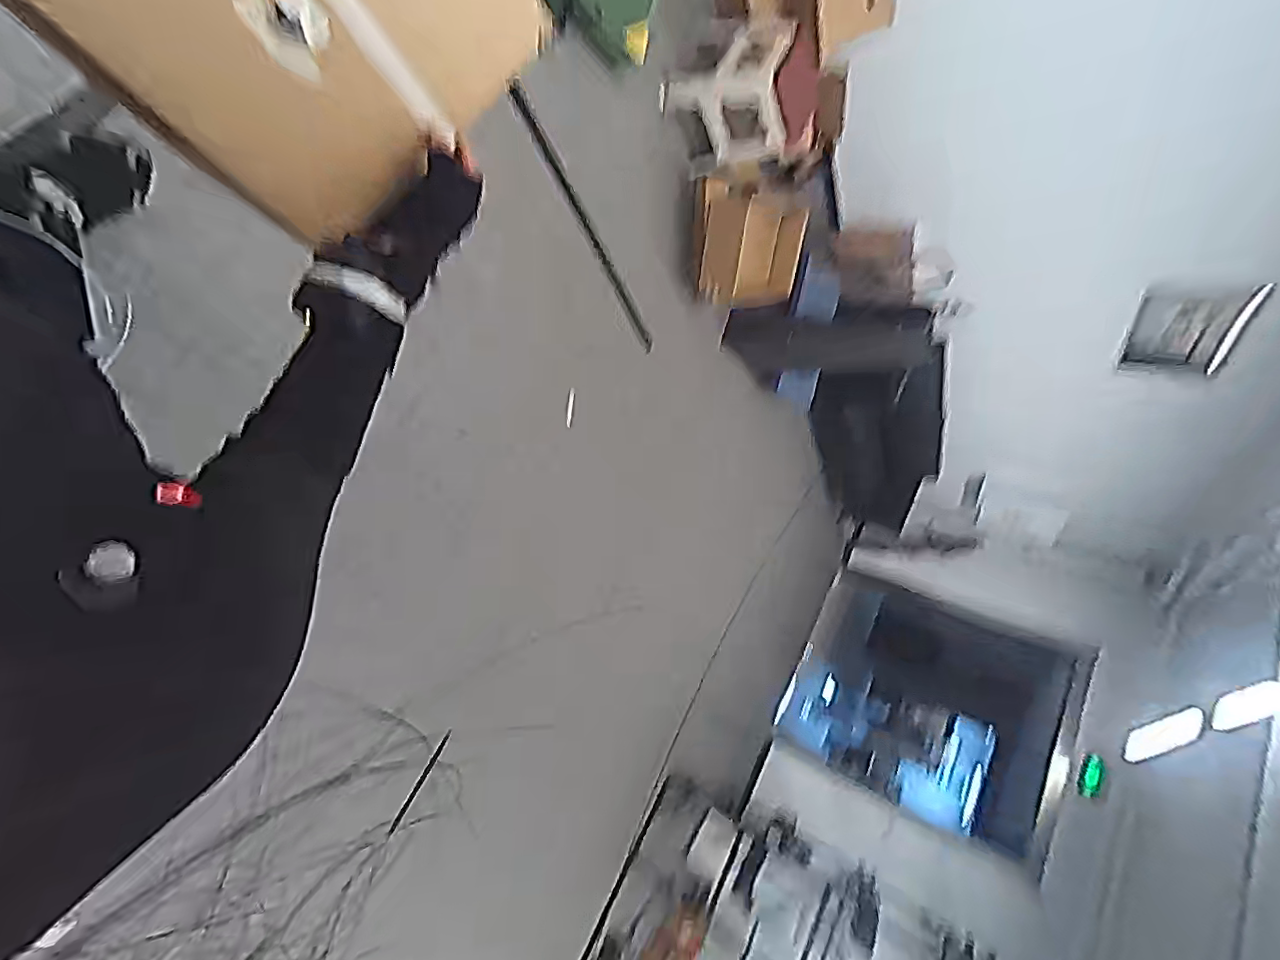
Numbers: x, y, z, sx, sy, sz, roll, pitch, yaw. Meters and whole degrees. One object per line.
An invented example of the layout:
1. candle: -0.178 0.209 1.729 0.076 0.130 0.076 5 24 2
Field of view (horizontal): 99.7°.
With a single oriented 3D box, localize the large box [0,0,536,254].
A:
1. large box: -0.369 -0.471 0.420 0.320 0.320 0.408 -51 150 -4
